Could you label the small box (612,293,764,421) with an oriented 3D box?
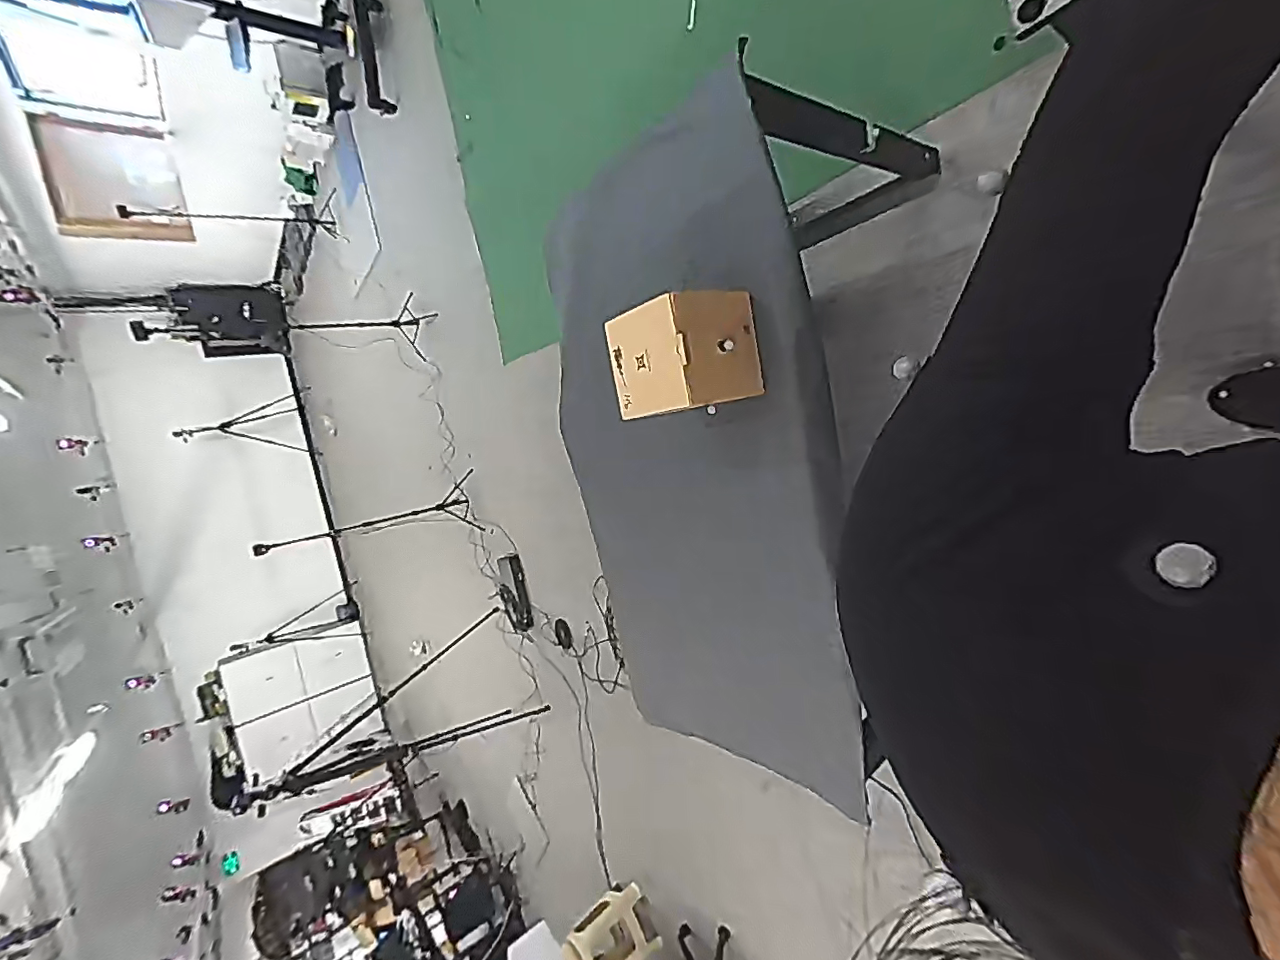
[{"bbox_3d":[0.083,-0.199,0.880,0.179,0.176,0.168,-3,100,53],"label":"small box"}]
